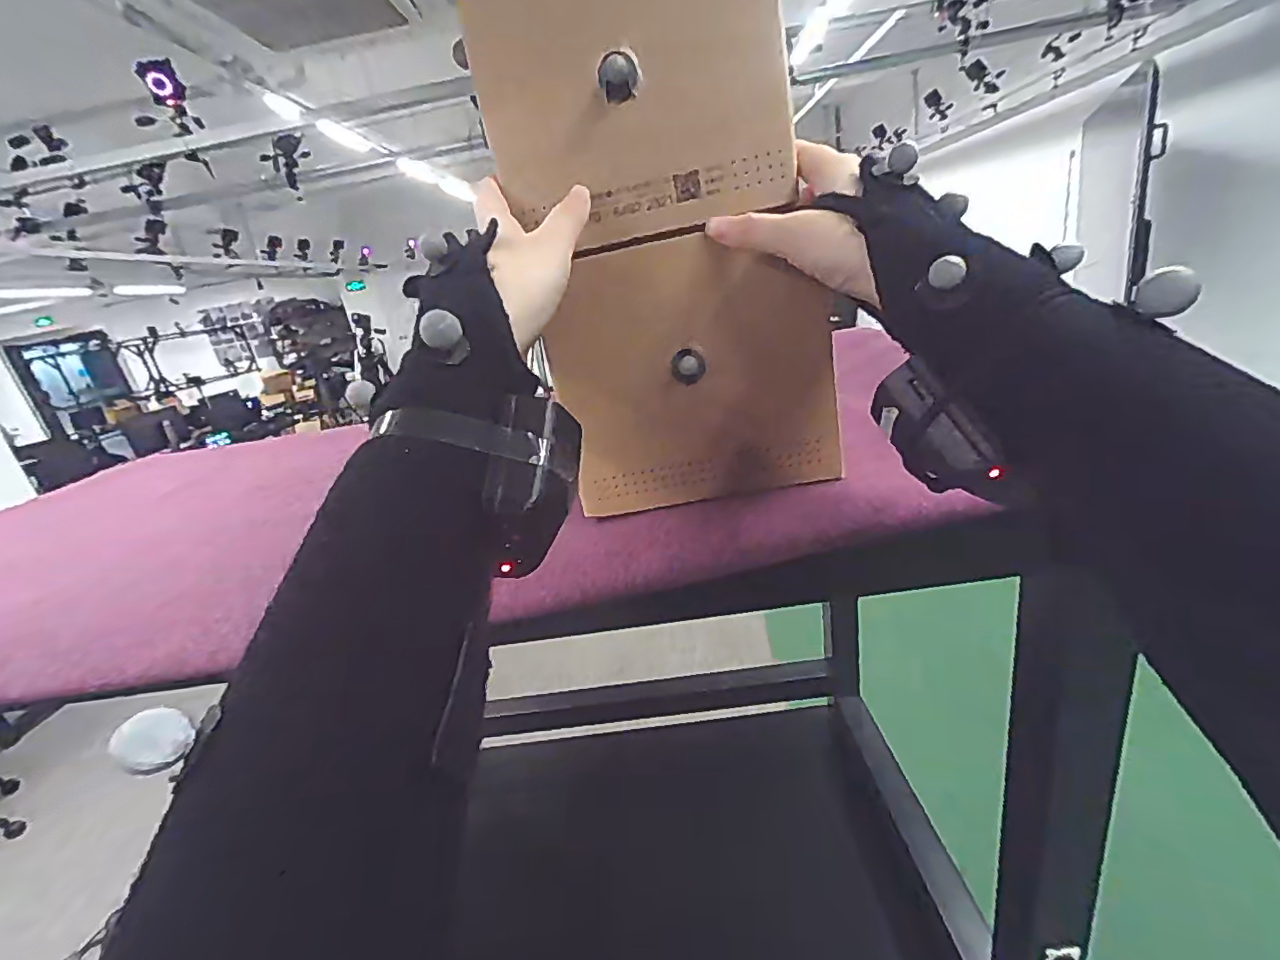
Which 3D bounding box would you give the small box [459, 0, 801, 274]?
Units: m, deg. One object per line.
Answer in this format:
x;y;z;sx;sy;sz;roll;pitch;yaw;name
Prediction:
0.002;-0.241;0.359;0.168;0.176;0.179;-9;18;6;small box
